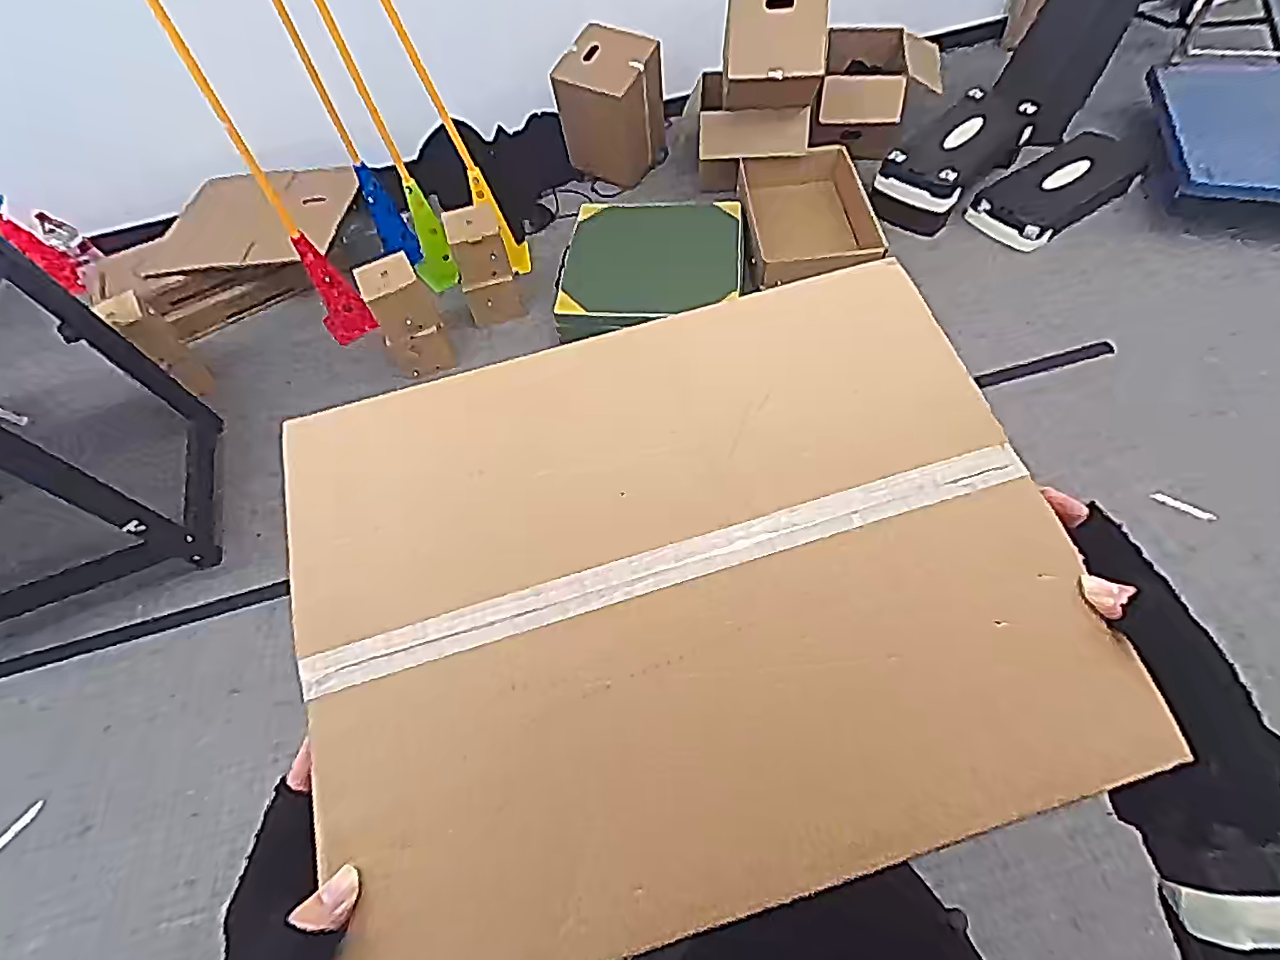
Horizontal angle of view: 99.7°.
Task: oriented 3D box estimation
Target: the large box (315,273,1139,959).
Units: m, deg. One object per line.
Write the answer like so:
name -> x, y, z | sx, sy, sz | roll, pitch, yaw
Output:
large box -> 0.027, 0.102, 0.450 | 0.408, 0.320, 0.320 | -17, 70, -4
